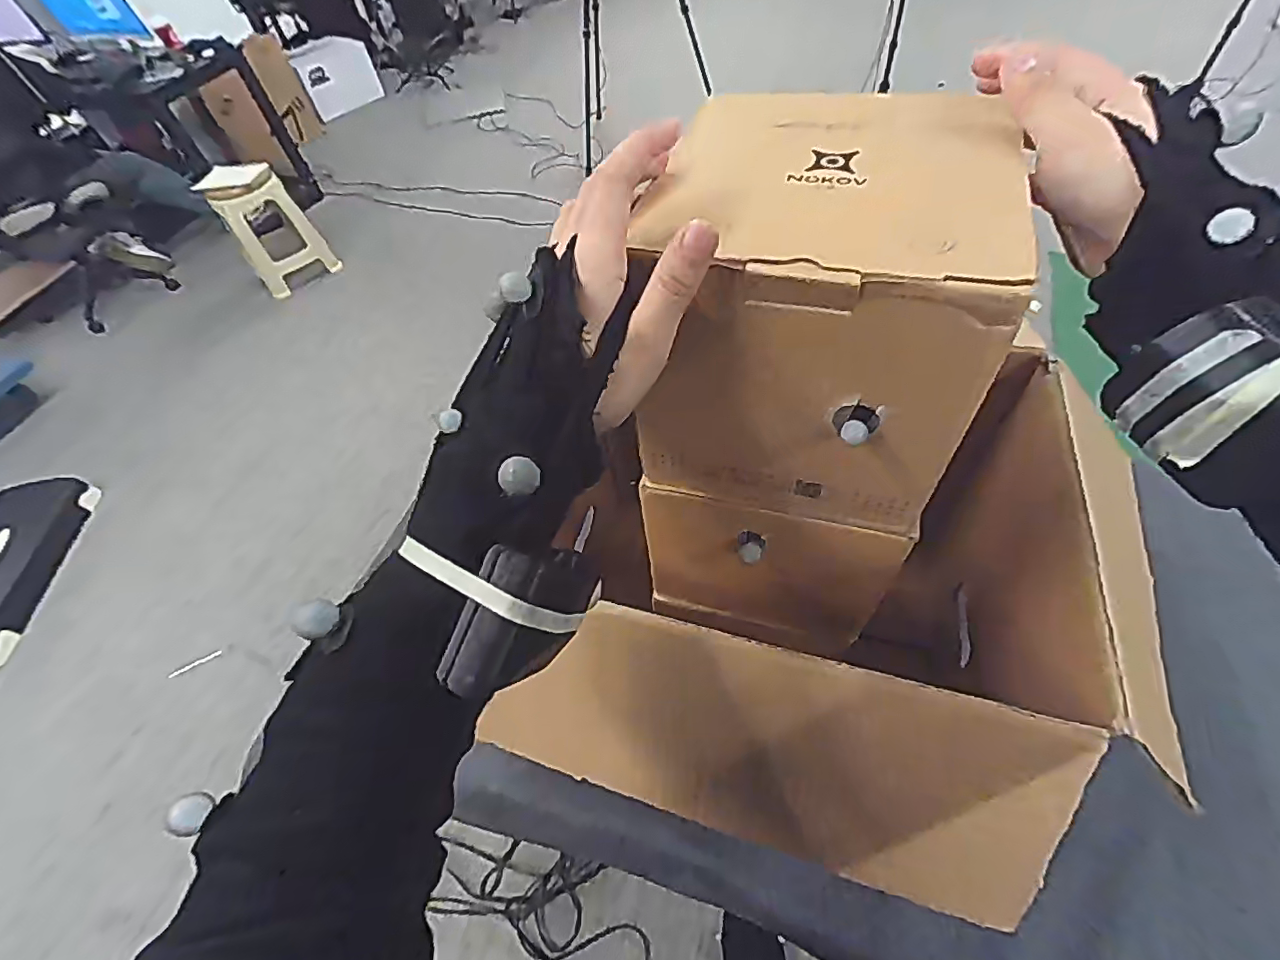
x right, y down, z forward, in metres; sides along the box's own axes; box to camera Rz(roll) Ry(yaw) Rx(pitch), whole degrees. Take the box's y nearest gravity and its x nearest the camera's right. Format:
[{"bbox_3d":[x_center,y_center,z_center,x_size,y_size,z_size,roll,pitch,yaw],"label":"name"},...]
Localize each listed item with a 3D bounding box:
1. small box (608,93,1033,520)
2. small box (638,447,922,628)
[{"bbox_3d":[0.097,-0.100,0.319,0.168,0.176,0.179,12,54,15],"label":"small box"},{"bbox_3d":[0.112,0.003,0.443,0.179,0.176,0.168,11,55,15],"label":"small box"}]
